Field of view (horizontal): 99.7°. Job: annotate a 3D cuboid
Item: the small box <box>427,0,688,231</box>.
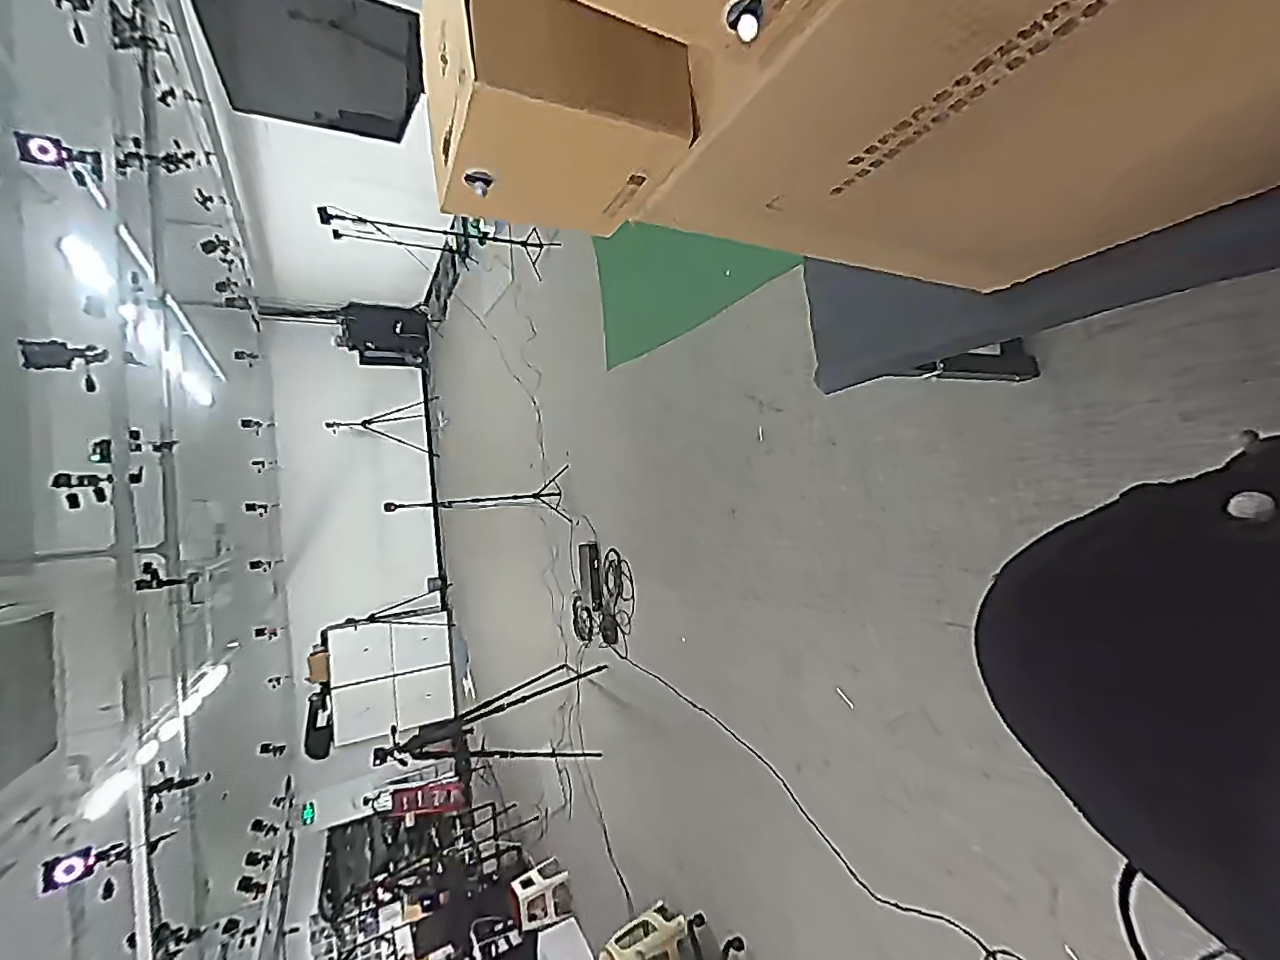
[{"bbox_3d":[-0.074,-0.336,0.450,0.168,0.176,0.179,-7,87,64],"label":"small box"}]
